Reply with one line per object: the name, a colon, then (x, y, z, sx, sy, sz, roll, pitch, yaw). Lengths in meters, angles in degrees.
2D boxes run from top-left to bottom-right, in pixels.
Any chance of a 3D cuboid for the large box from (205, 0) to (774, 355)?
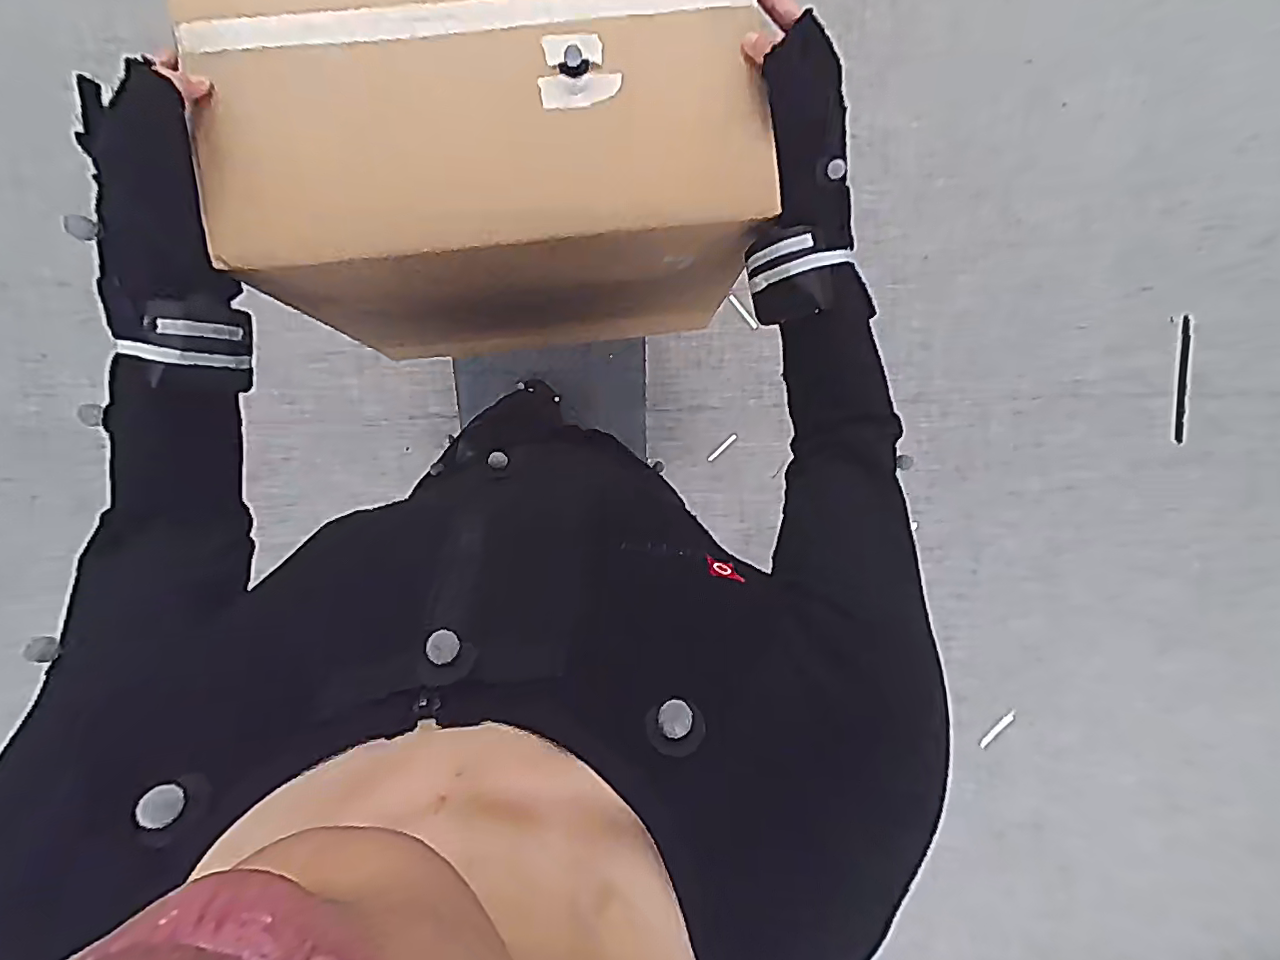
large box: (-0.122, -0.333, 0.547, 0.408, 0.320, 0.320, -7, 91, -3)
